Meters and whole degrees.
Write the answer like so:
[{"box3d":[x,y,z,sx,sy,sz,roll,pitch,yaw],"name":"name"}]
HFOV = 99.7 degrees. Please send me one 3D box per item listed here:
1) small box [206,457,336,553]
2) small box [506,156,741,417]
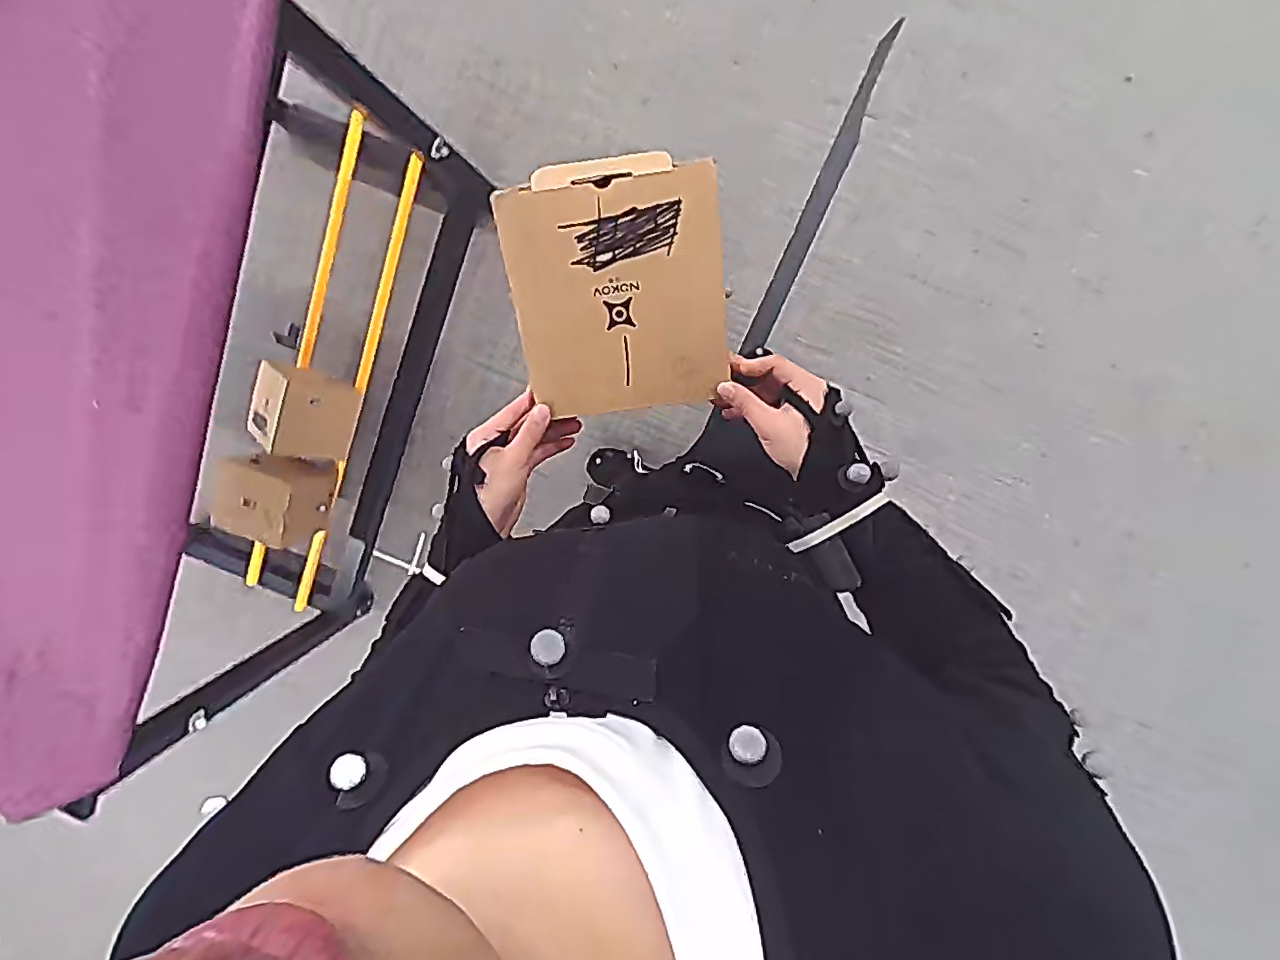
[{"box3d":[-0.869,0.051,1.283,0.179,0.176,0.168,20,102,1],"name":"small box"},{"box3d":[-0.007,-0.168,0.485,0.168,0.176,0.179,-6,112,4],"name":"small box"}]
